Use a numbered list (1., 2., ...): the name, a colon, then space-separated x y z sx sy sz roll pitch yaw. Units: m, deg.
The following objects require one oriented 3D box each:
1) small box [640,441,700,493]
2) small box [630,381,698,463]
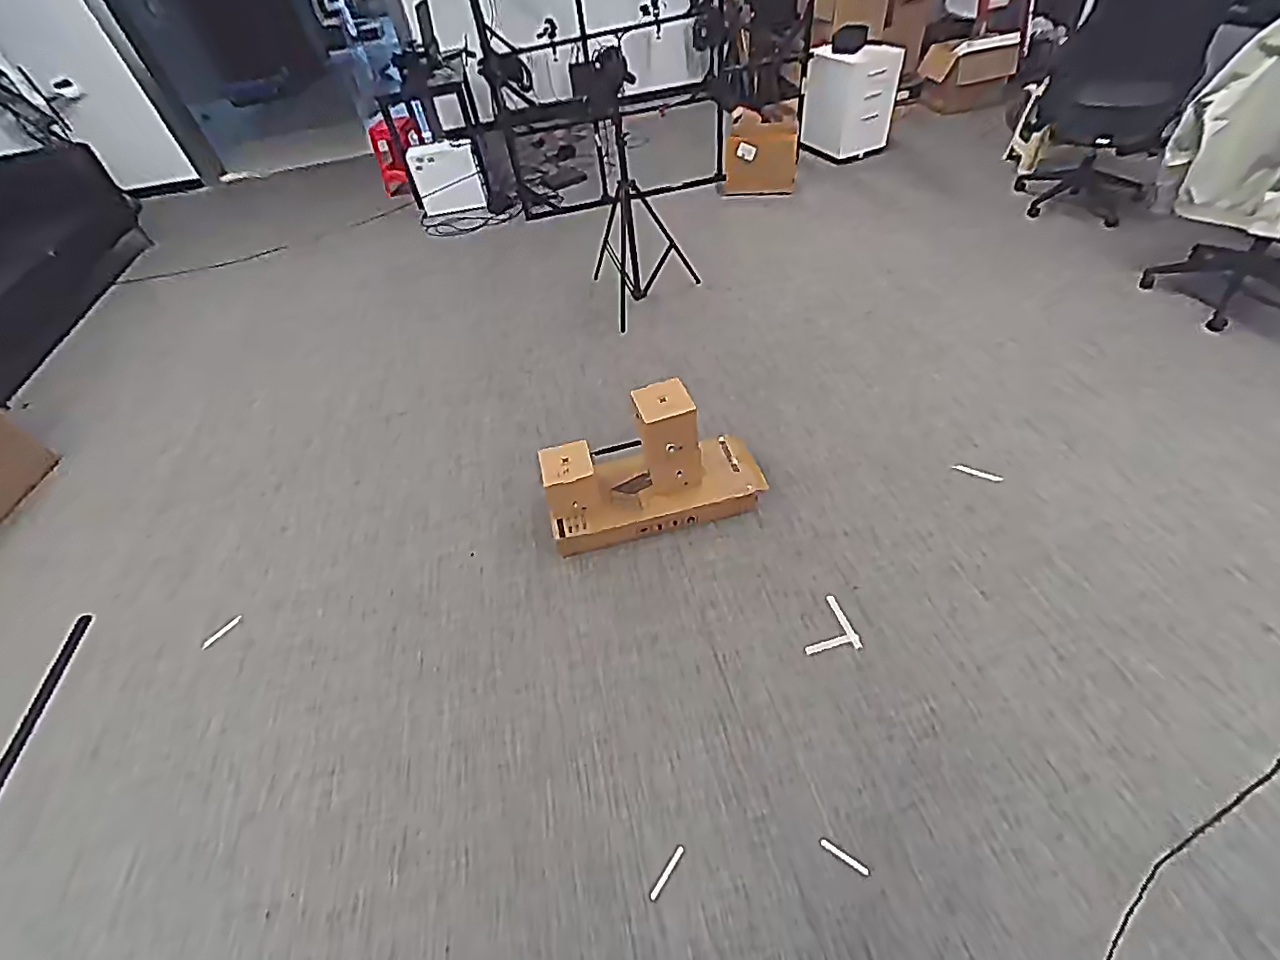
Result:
1. small box: 0.104 -0.075 1.845 0.168 0.176 0.179 -15 48 -6
2. small box: 0.078 -0.184 1.726 0.168 0.176 0.179 -18 48 -7
